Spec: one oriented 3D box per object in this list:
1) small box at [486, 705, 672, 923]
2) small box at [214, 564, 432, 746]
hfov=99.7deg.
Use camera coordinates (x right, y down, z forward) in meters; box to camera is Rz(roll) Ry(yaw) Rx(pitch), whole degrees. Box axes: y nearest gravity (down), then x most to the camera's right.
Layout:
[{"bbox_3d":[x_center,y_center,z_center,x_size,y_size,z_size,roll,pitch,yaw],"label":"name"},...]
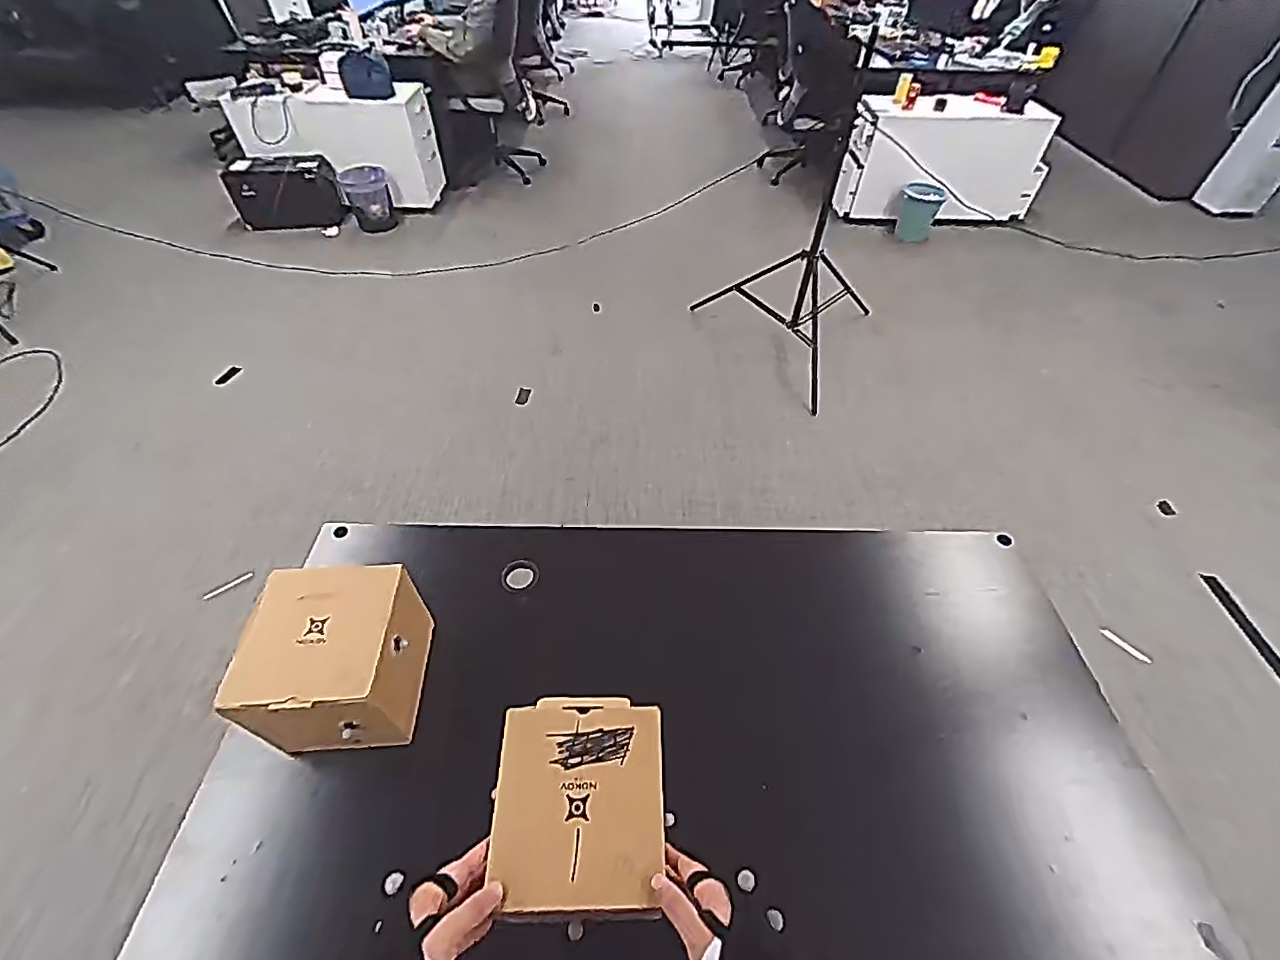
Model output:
[{"bbox_3d":[-0.056,0.361,0.584,0.168,0.176,0.179,0,49,-1],"label":"small box"},{"bbox_3d":[-0.380,0.228,0.692,0.168,0.176,0.179,-1,48,-5],"label":"small box"}]
